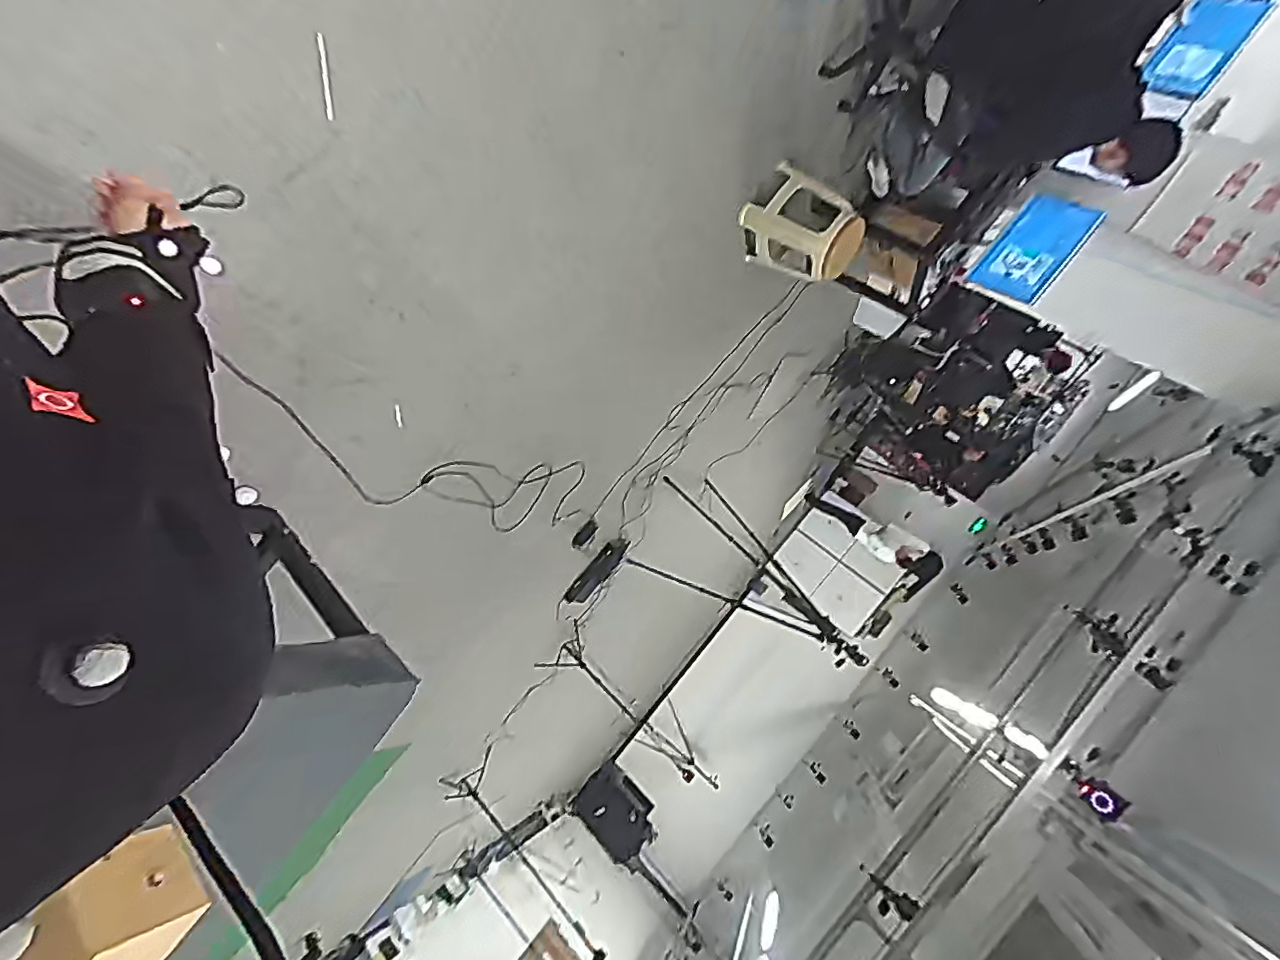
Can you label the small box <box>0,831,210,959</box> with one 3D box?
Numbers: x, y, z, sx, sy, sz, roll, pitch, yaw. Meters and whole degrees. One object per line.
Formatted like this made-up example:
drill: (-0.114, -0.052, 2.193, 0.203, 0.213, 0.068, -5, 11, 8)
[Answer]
small box: (-0.835, 0.684, 0.834, 0.179, 0.176, 0.168, -49, 158, -2)
